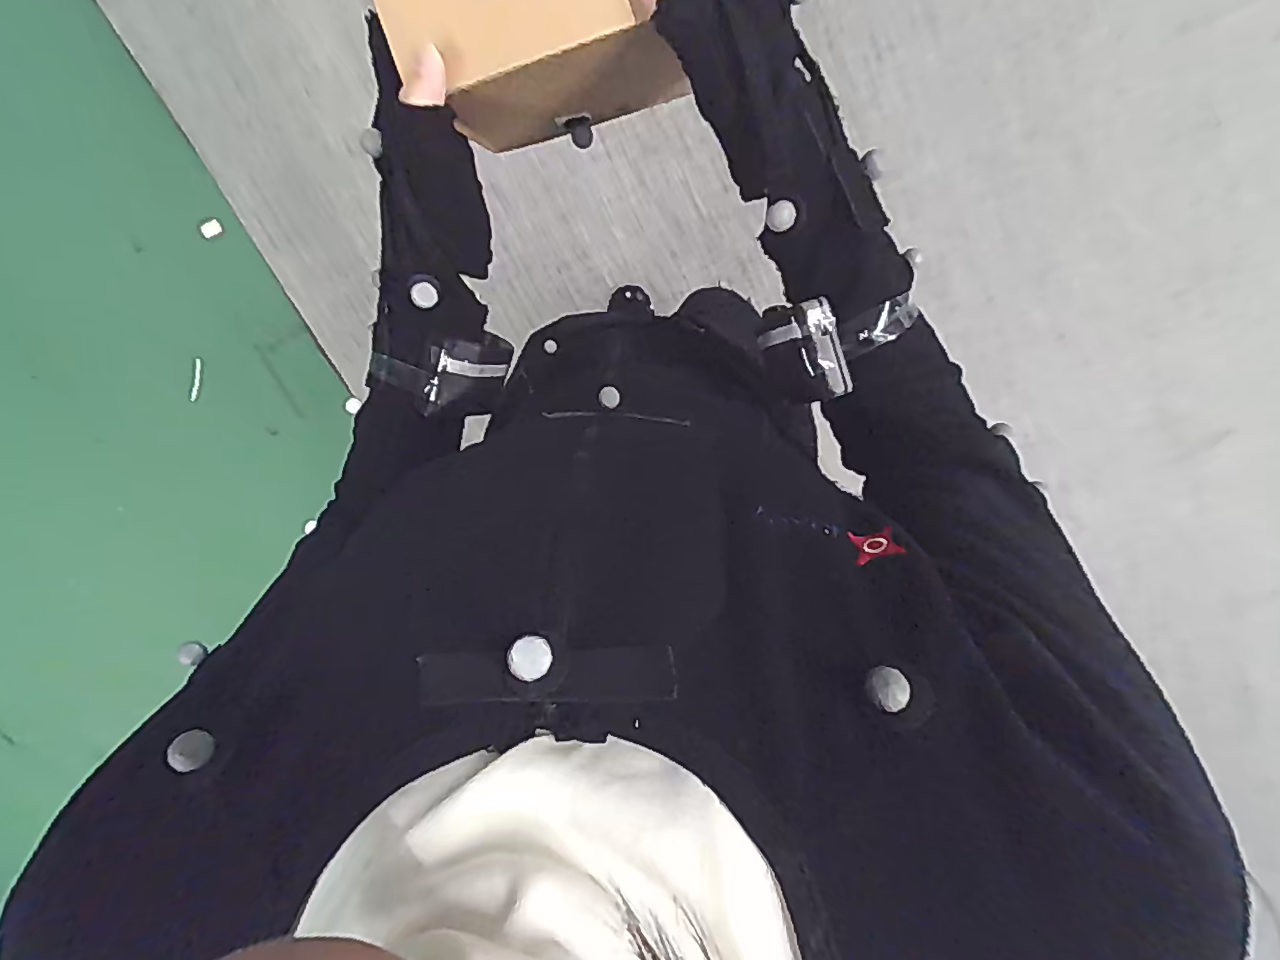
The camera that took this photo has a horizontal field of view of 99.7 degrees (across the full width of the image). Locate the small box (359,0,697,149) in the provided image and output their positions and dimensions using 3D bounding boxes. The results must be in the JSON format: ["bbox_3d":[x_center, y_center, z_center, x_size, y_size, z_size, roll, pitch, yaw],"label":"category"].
[{"bbox_3d":[-0.066,-0.324,0.315,0.168,0.176,0.179,-12,112,9],"label":"small box"}]
